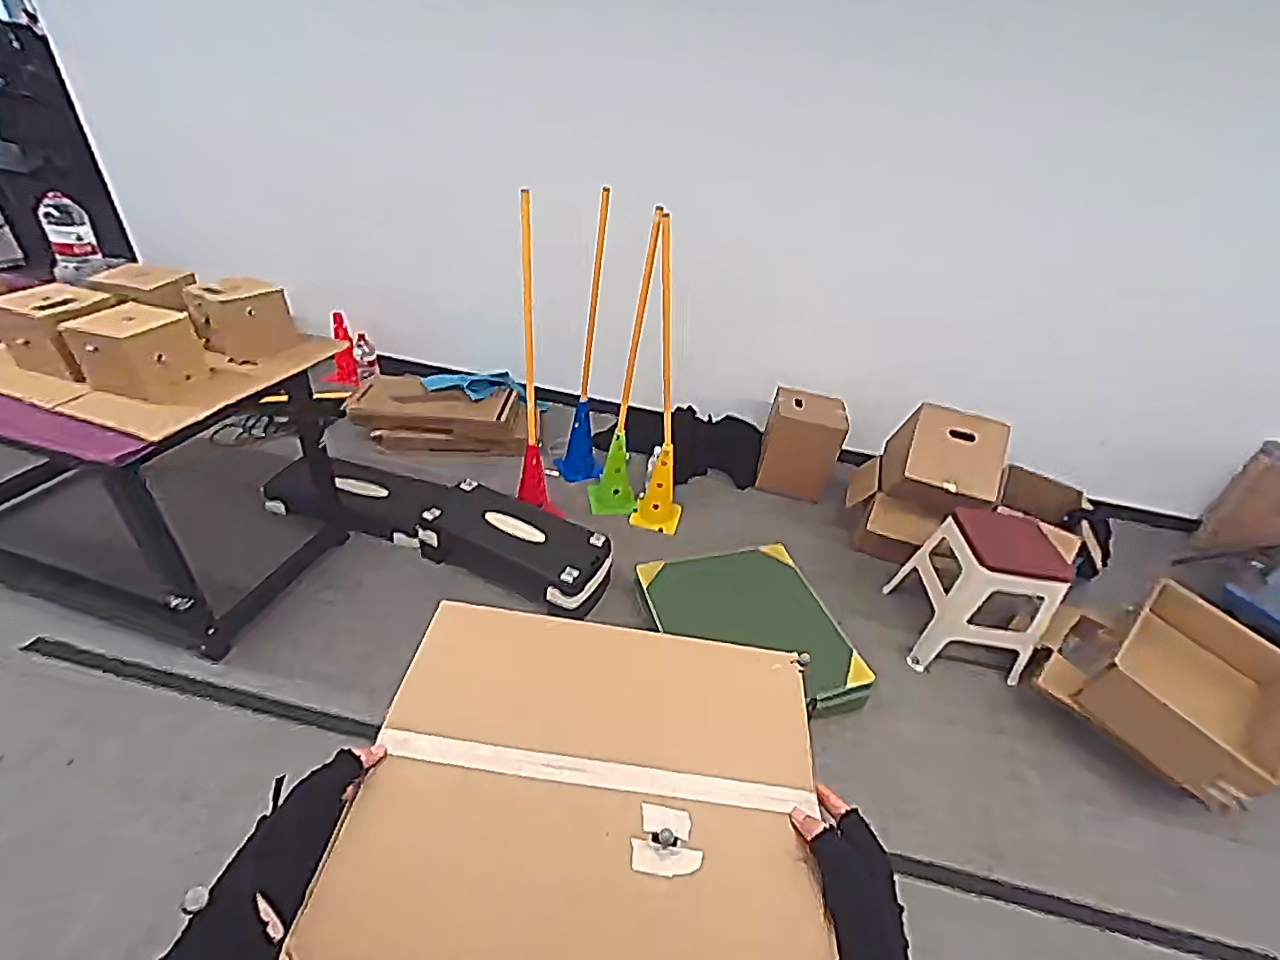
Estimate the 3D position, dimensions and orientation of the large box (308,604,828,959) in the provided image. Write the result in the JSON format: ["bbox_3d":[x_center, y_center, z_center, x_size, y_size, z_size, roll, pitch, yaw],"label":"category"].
[{"bbox_3d":[-0.055,0.379,0.607,0.408,0.320,0.320,9,42,1],"label":"large box"}]
